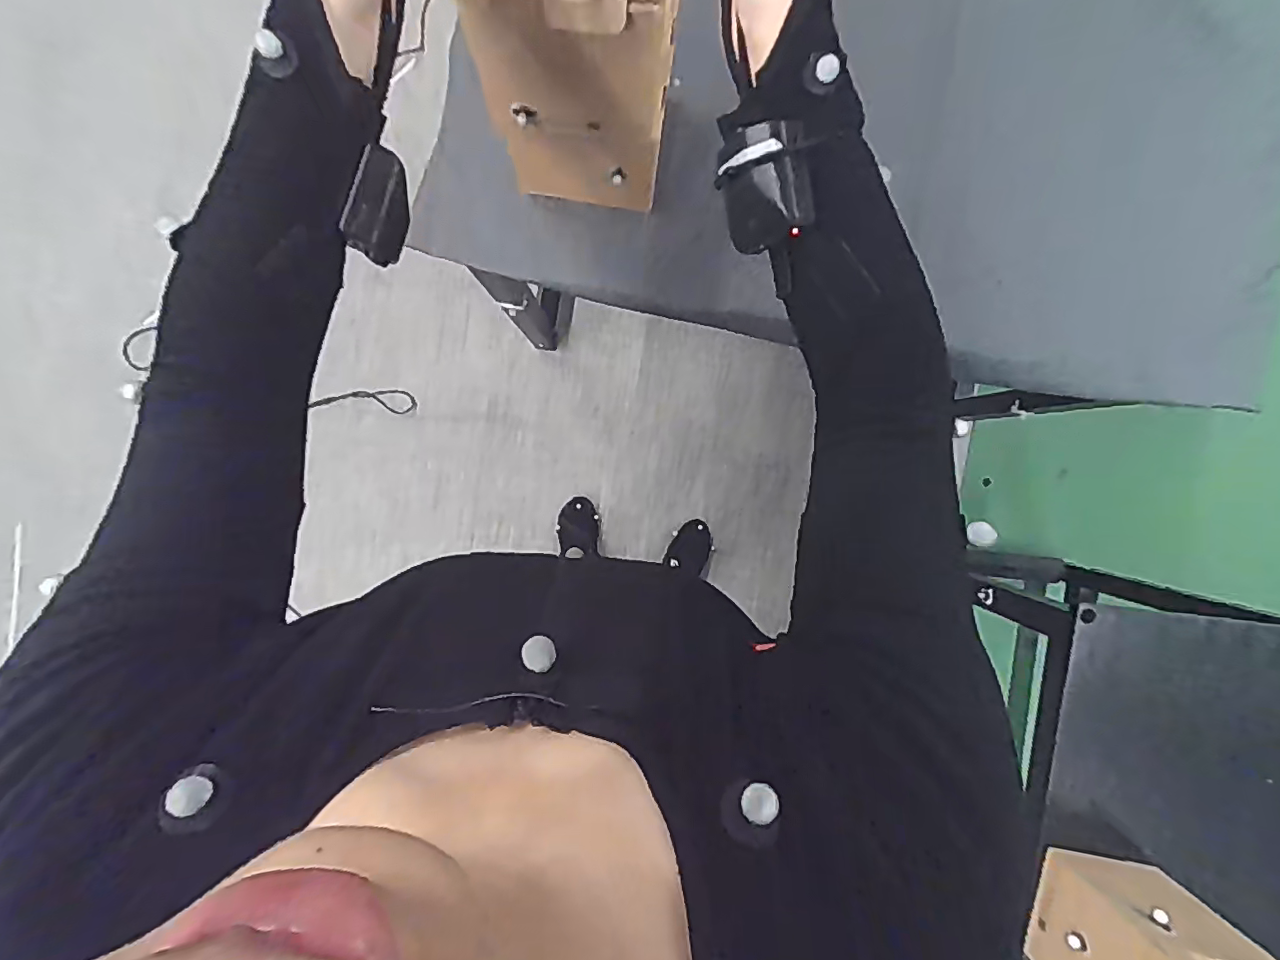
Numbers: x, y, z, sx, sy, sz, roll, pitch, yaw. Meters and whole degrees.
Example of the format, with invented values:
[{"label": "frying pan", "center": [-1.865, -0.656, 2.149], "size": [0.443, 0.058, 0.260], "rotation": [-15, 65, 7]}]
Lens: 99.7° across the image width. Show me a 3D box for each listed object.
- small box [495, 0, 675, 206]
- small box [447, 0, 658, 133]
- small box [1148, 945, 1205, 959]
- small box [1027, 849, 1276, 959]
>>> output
[{"label": "small box", "center": [-0.061, -0.458, 0.655], "size": [0.179, 0.176, 0.168], "rotation": [7, 90, -1]}, {"label": "small box", "center": [-0.066, -0.452, 0.490], "size": [0.168, 0.176, 0.179], "rotation": [3, 90, -2]}, {"label": "small box", "center": [0.654, 0.659, 0.565], "size": [0.168, 0.176, 0.179], "rotation": [20, 92, -2]}, {"label": "small box", "center": [0.673, 0.640, 0.727], "size": [0.179, 0.176, 0.168], "rotation": [12, 93, -2]}]
